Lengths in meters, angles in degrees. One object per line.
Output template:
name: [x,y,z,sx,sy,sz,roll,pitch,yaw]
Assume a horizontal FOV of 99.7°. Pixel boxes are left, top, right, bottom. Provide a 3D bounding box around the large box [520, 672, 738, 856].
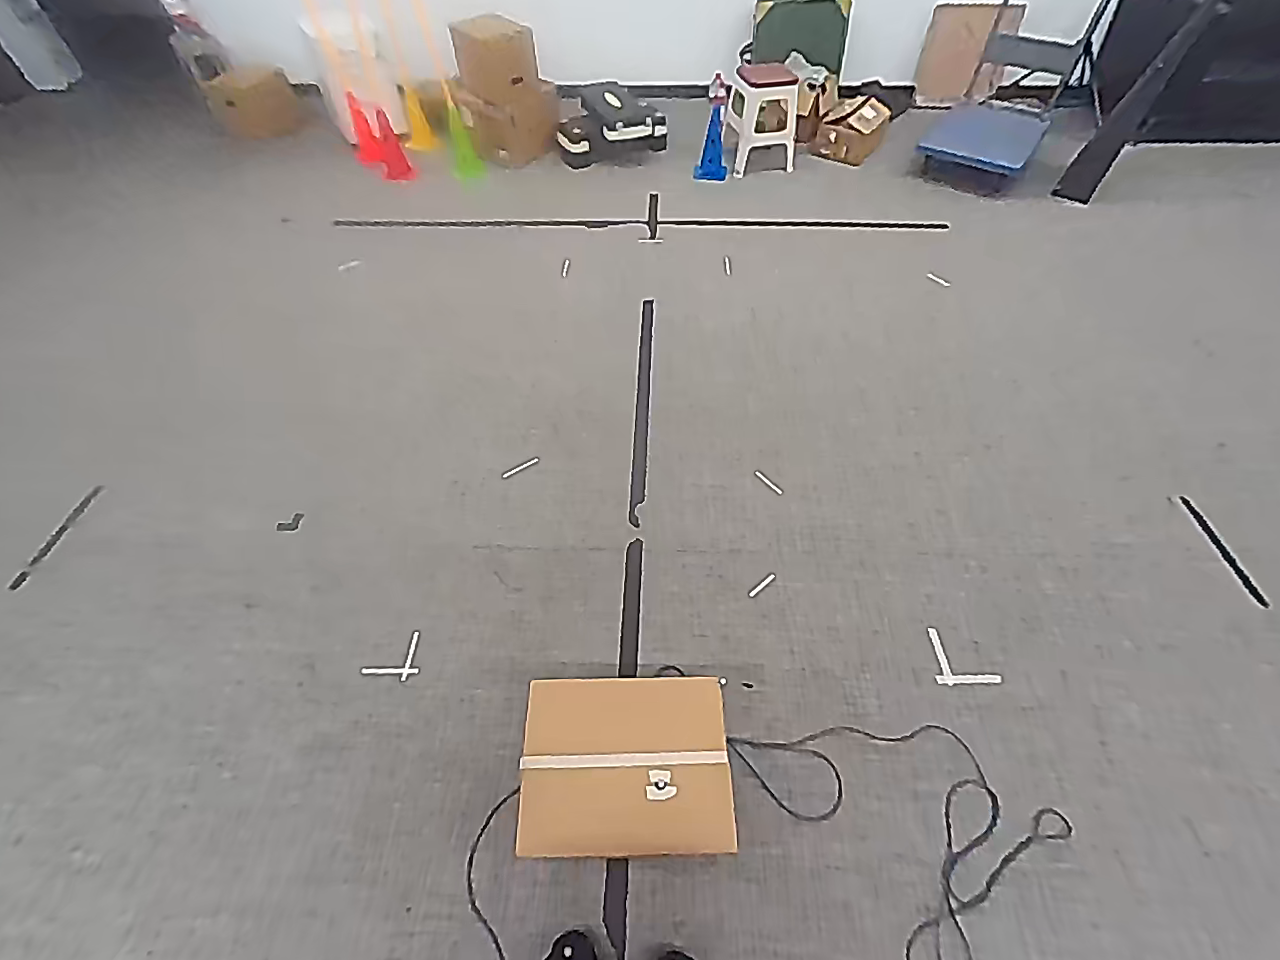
large box: [-0.026,0.623,1.178,0.408,0.320,0.320,0,55,-1]
